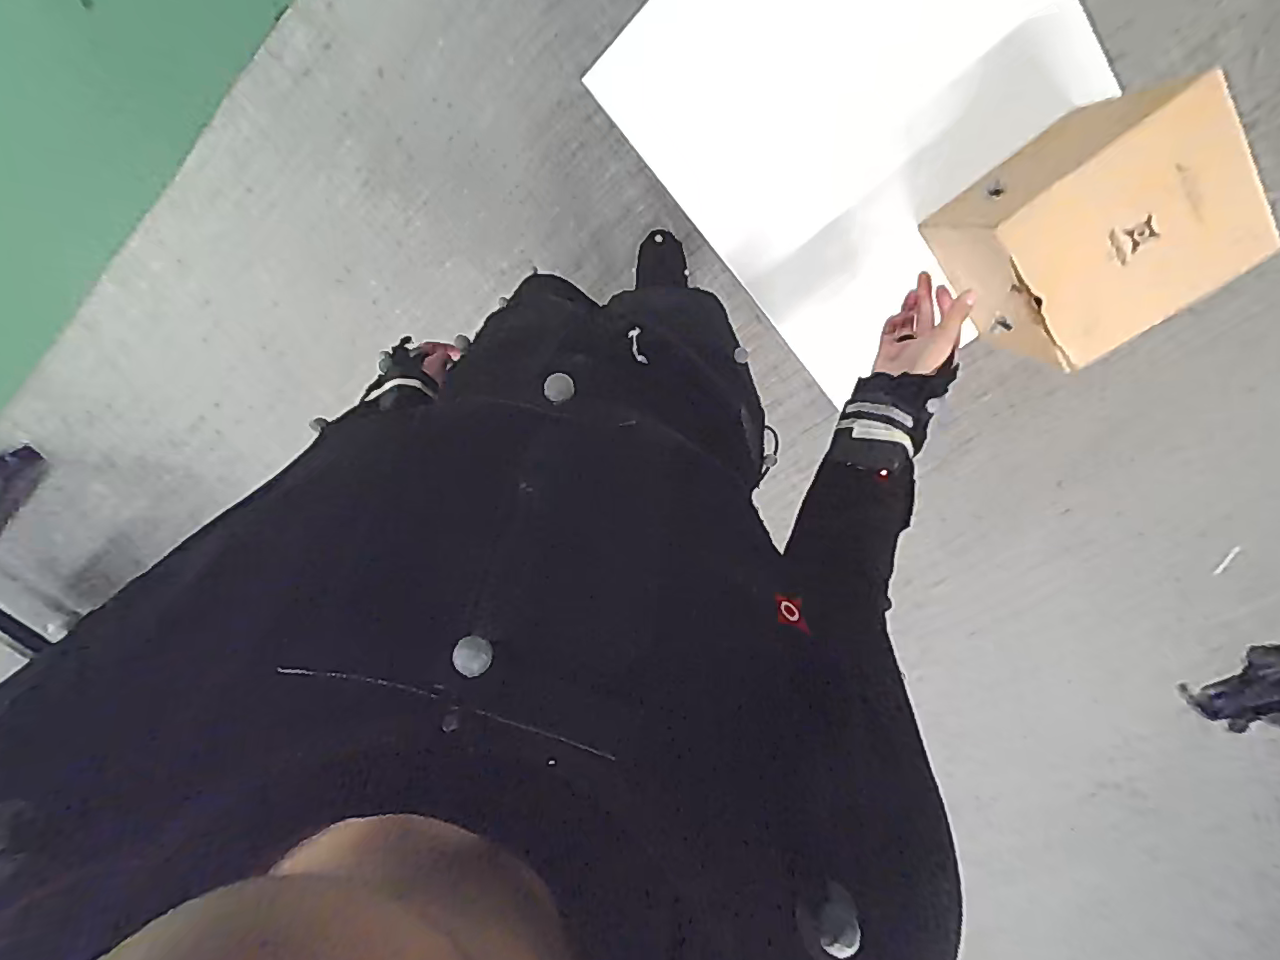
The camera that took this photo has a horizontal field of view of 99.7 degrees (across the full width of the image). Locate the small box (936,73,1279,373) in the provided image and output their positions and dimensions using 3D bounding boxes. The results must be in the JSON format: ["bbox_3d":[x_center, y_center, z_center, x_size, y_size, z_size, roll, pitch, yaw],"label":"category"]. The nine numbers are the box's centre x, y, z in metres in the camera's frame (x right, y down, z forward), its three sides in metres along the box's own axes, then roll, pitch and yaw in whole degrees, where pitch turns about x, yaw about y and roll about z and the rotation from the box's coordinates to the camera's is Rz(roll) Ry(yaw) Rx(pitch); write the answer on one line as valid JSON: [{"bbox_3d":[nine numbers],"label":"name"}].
[{"bbox_3d":[0.424,-0.237,0.528,0.179,0.176,0.168,-36,109,18],"label":"small box"}]
